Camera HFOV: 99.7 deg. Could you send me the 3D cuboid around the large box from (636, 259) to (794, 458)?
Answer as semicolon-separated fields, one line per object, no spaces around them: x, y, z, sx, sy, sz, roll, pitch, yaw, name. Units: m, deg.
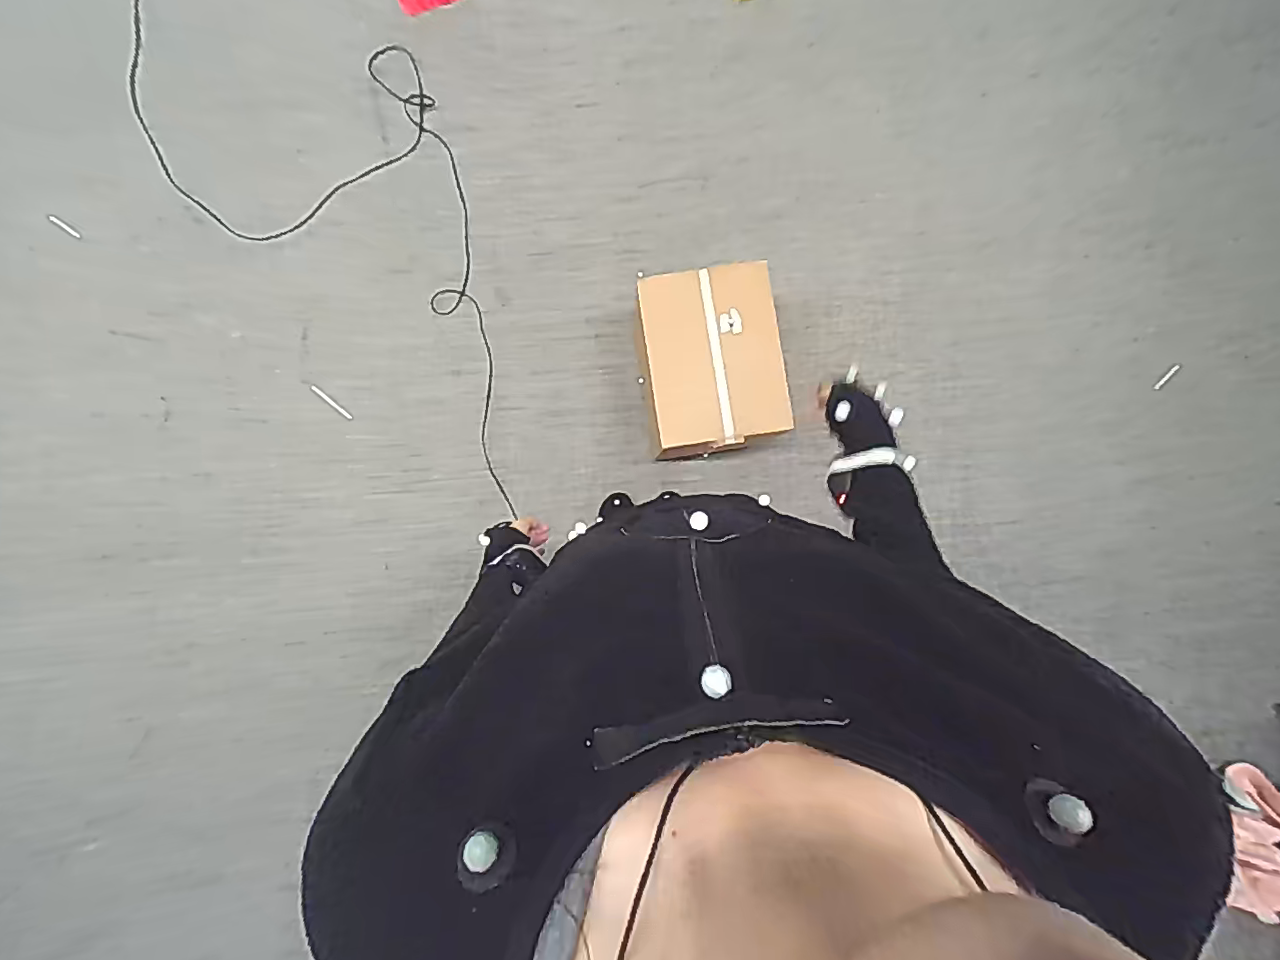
0.172;-0.290;1.396;0.320;0.320;0.408;-8;86;-2;large box
